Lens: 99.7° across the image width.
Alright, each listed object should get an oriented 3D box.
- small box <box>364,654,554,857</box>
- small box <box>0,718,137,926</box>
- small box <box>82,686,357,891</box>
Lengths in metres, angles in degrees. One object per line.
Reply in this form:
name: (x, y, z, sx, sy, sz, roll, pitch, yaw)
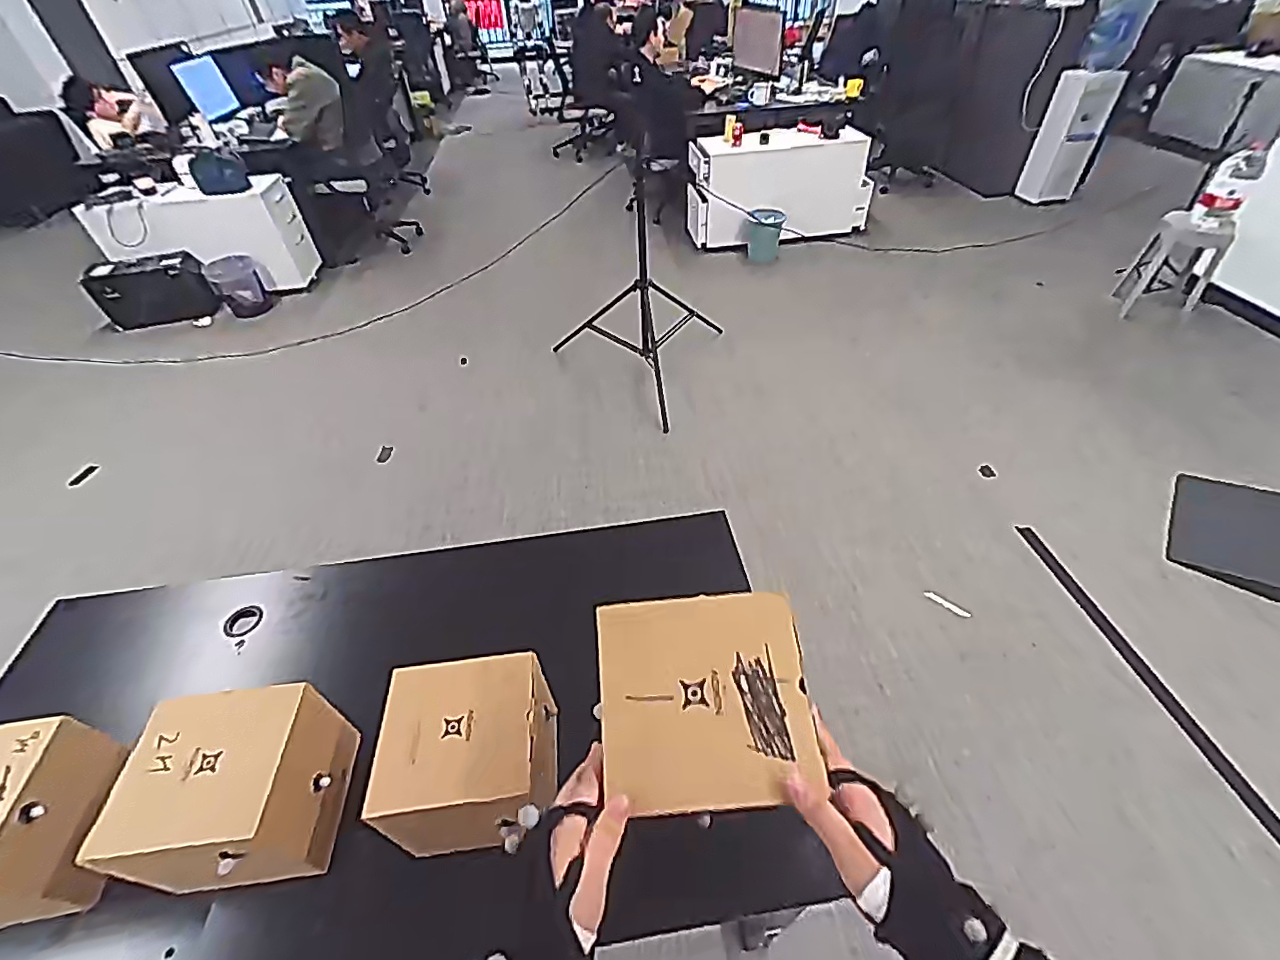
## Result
small box: (-0.202, 0.341, 0.669, 0.179, 0.176, 0.168, -8, 43, -3)
small box: (-0.744, 0.409, 0.634, 0.179, 0.176, 0.168, -9, 45, -5)
small box: (-0.474, 0.372, 0.652, 0.179, 0.176, 0.168, -7, 44, -3)
